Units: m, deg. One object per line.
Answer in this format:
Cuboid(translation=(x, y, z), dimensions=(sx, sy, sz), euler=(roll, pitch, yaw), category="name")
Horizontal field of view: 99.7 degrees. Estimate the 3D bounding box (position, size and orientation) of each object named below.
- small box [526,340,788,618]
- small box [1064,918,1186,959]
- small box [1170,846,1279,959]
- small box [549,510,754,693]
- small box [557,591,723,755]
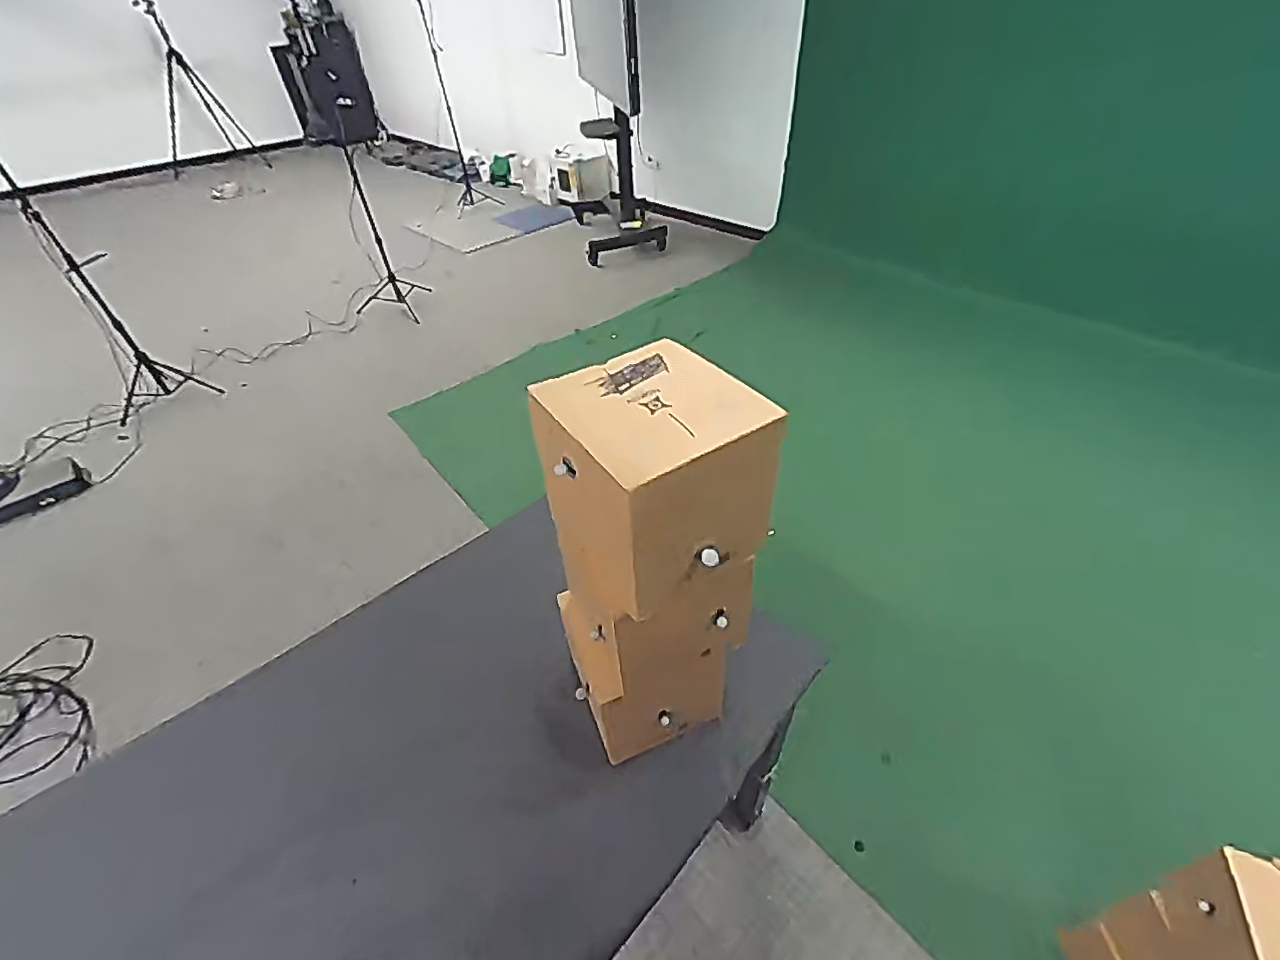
Cuboid(translation=(0.011, -0.006, 0.518), dimensions=(0.168, 0.176, 0.179), euler=(-26, 46, -23), category="small box")
Cuboid(translation=(0.943, 0.938, 0.997), dimensions=(0.168, 0.176, 0.179), euler=(0, 42, 4), category="small box")
Cuboid(translation=(0.935, 0.684, 0.788), dimensions=(0.168, 0.176, 0.179), euler=(13, 45, 18), category="small box")
Cuboid(translation=(0.011, 0.117, 0.627), dimensions=(0.168, 0.176, 0.179), euler=(-21, 43, -19), category="small box")
Cuboid(translation=(0.000, 0.241, 0.733), dimensions=(0.168, 0.176, 0.179), euler=(-18, 42, -15), category="small box")
